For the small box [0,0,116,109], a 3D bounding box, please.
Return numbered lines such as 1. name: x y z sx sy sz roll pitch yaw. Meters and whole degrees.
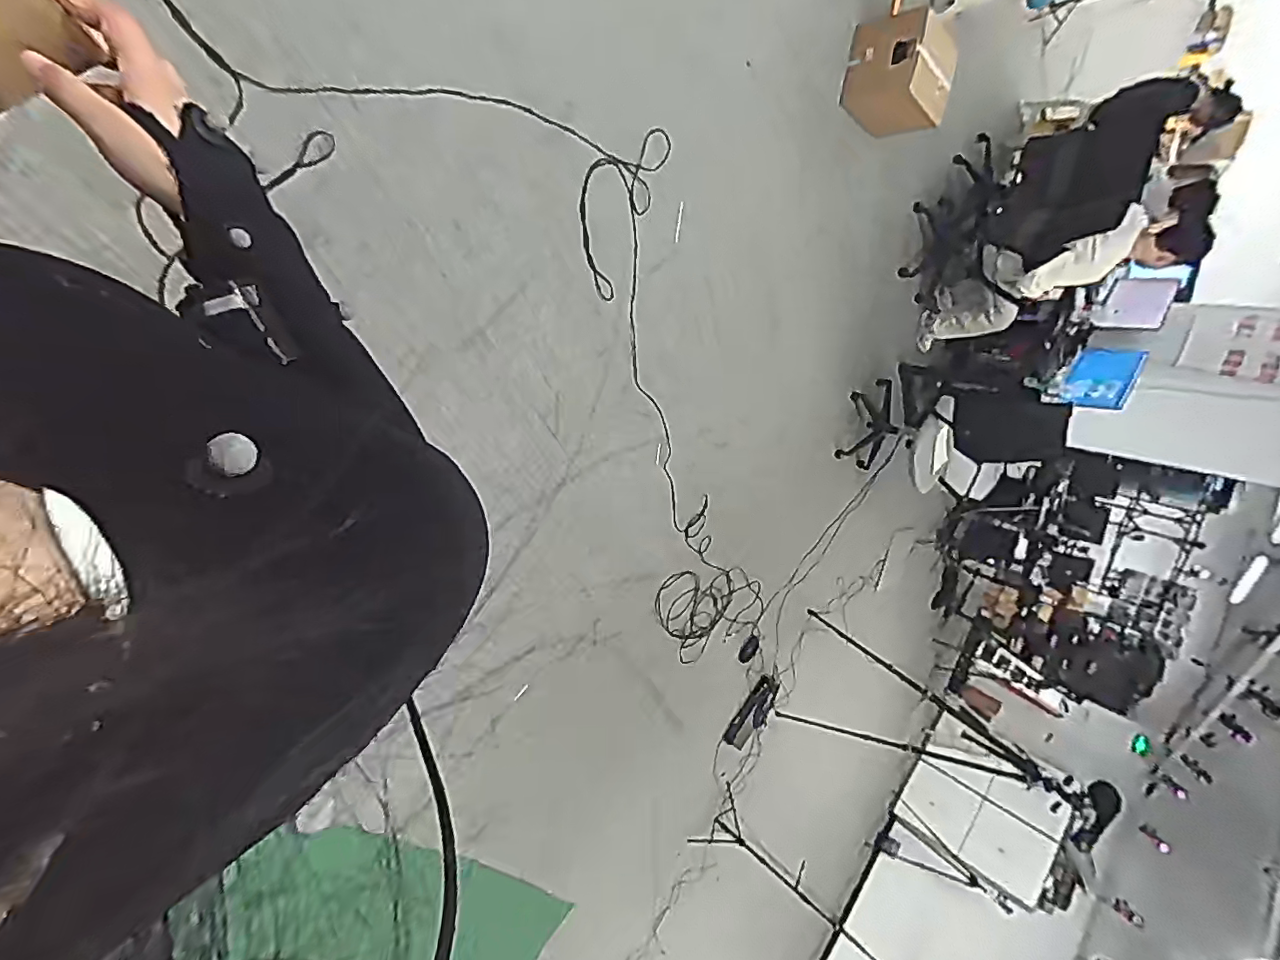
1. small box: -0.463 -0.335 0.302 0.168 0.176 0.179 -30 157 -3
